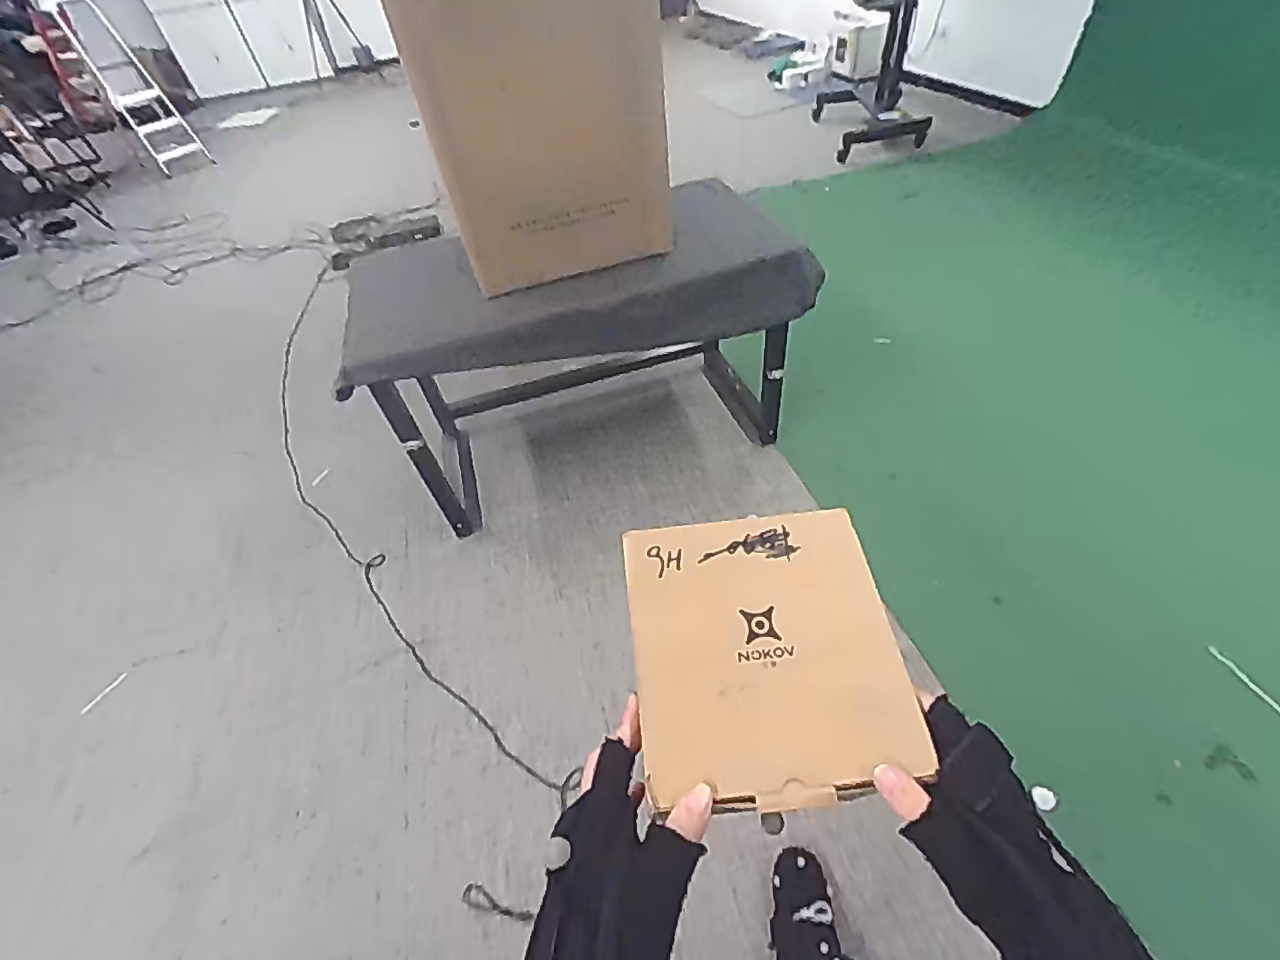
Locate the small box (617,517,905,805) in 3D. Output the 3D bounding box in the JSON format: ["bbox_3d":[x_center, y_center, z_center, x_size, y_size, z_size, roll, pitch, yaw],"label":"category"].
[{"bbox_3d":[0.078,0.154,0.439,0.168,0.176,0.179,-8,57,-1],"label":"small box"}]
